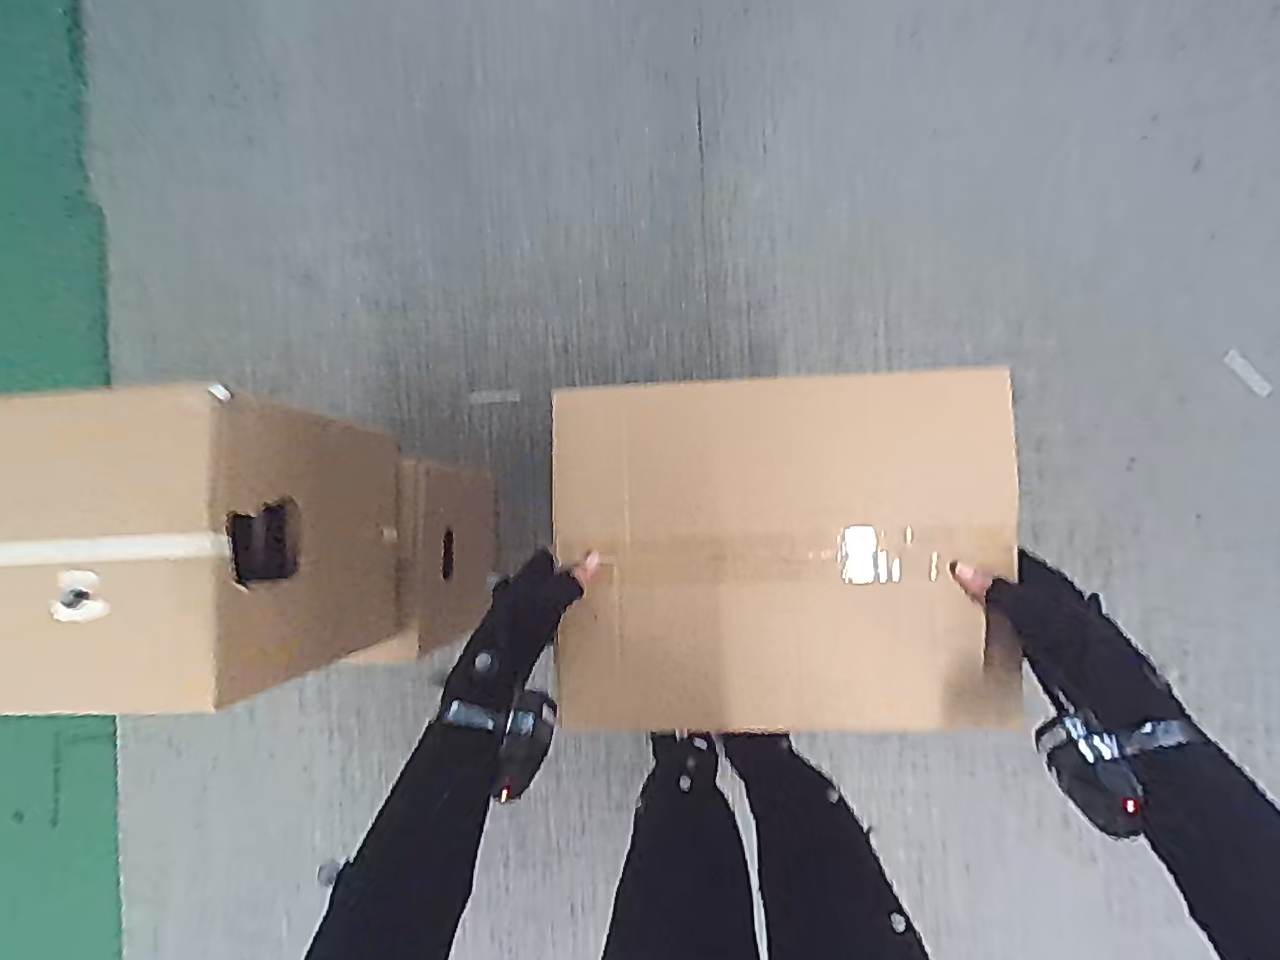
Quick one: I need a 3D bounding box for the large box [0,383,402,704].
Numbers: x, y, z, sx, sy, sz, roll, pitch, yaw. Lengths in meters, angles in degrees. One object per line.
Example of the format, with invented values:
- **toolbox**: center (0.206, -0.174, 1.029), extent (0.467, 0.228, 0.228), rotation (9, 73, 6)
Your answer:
- **large box**: center (-0.574, 0.081, 0.687), extent (0.408, 0.320, 0.320), rotation (-2, 84, 5)
